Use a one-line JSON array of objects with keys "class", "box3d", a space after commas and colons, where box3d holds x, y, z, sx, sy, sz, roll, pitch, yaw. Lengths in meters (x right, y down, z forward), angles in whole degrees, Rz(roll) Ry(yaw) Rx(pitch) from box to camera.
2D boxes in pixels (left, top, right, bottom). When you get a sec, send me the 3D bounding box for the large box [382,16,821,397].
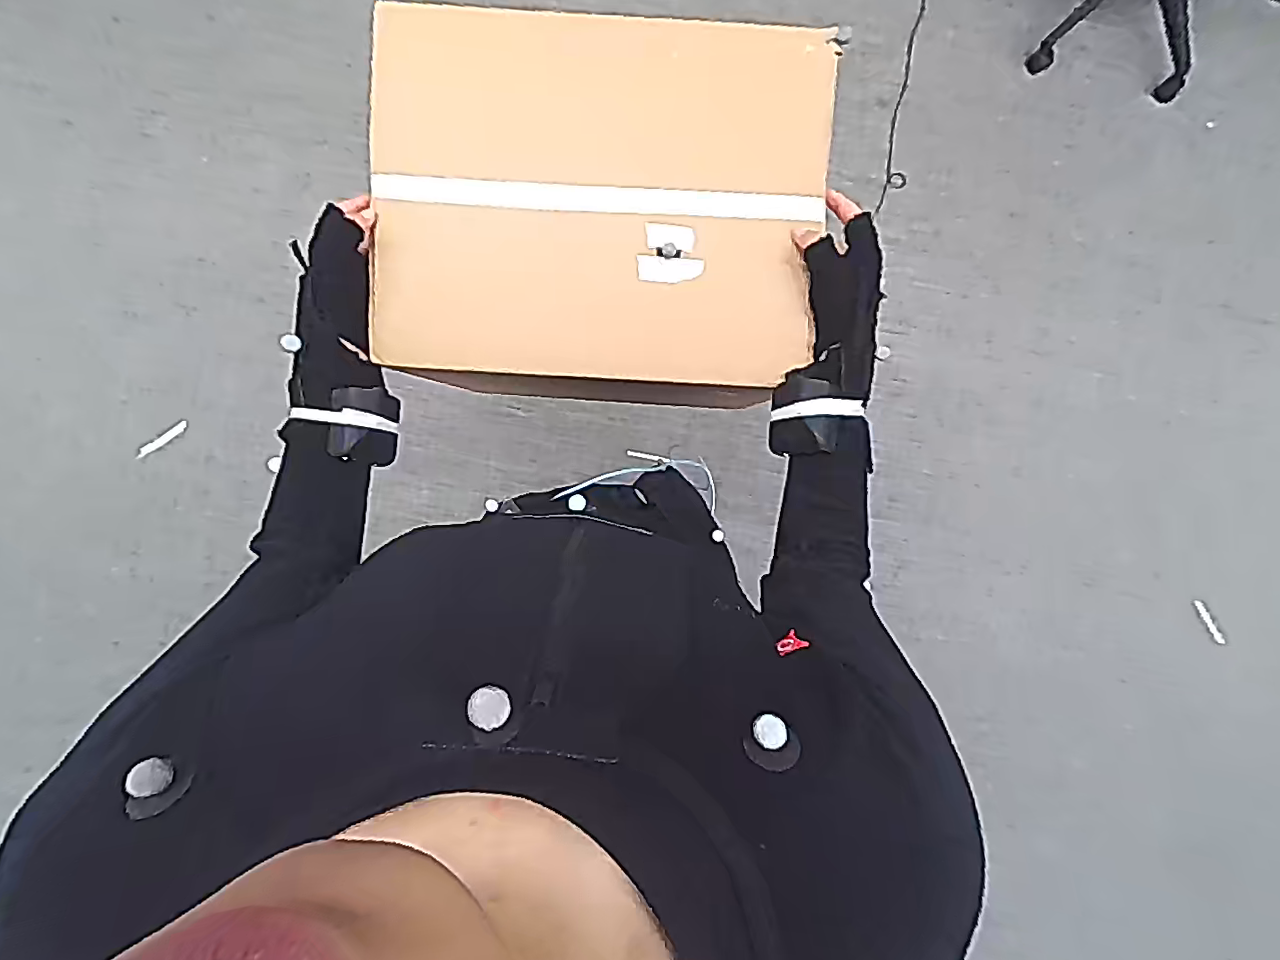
[{"class": "large box", "box3d": [-0.041, -0.271, 0.648, 0.408, 0.320, 0.320, 3, 96, -1]}]
